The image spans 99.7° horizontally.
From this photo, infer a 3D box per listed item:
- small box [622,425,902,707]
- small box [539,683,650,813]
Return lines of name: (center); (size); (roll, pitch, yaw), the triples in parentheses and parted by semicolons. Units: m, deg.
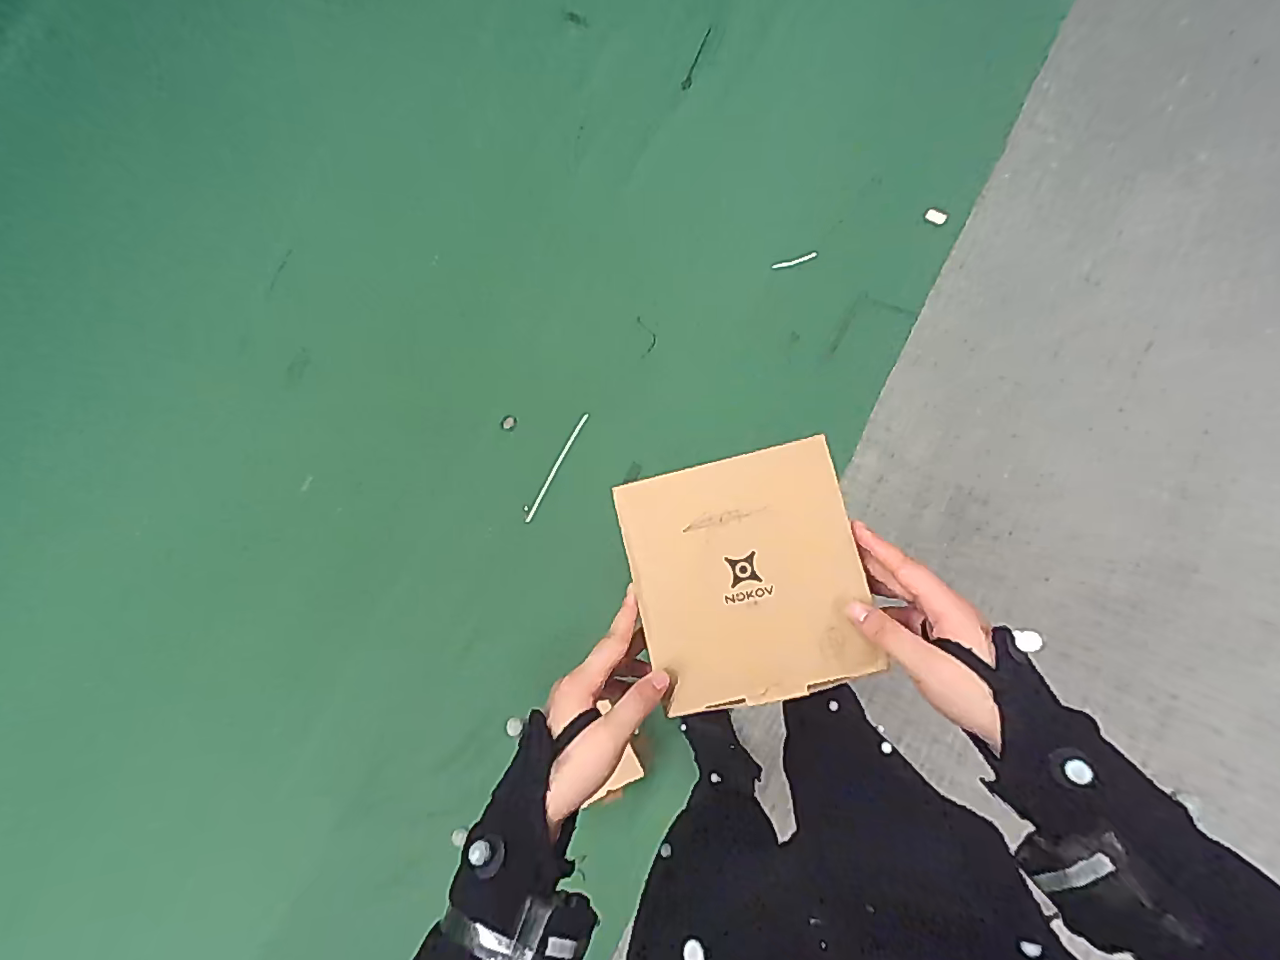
small box: (0.094, 0.071, 0.470); (0.168, 0.176, 0.179); (-15, 80, 4)
small box: (-0.091, 0.574, 1.182); (0.168, 0.176, 0.179); (-29, 79, 1)
